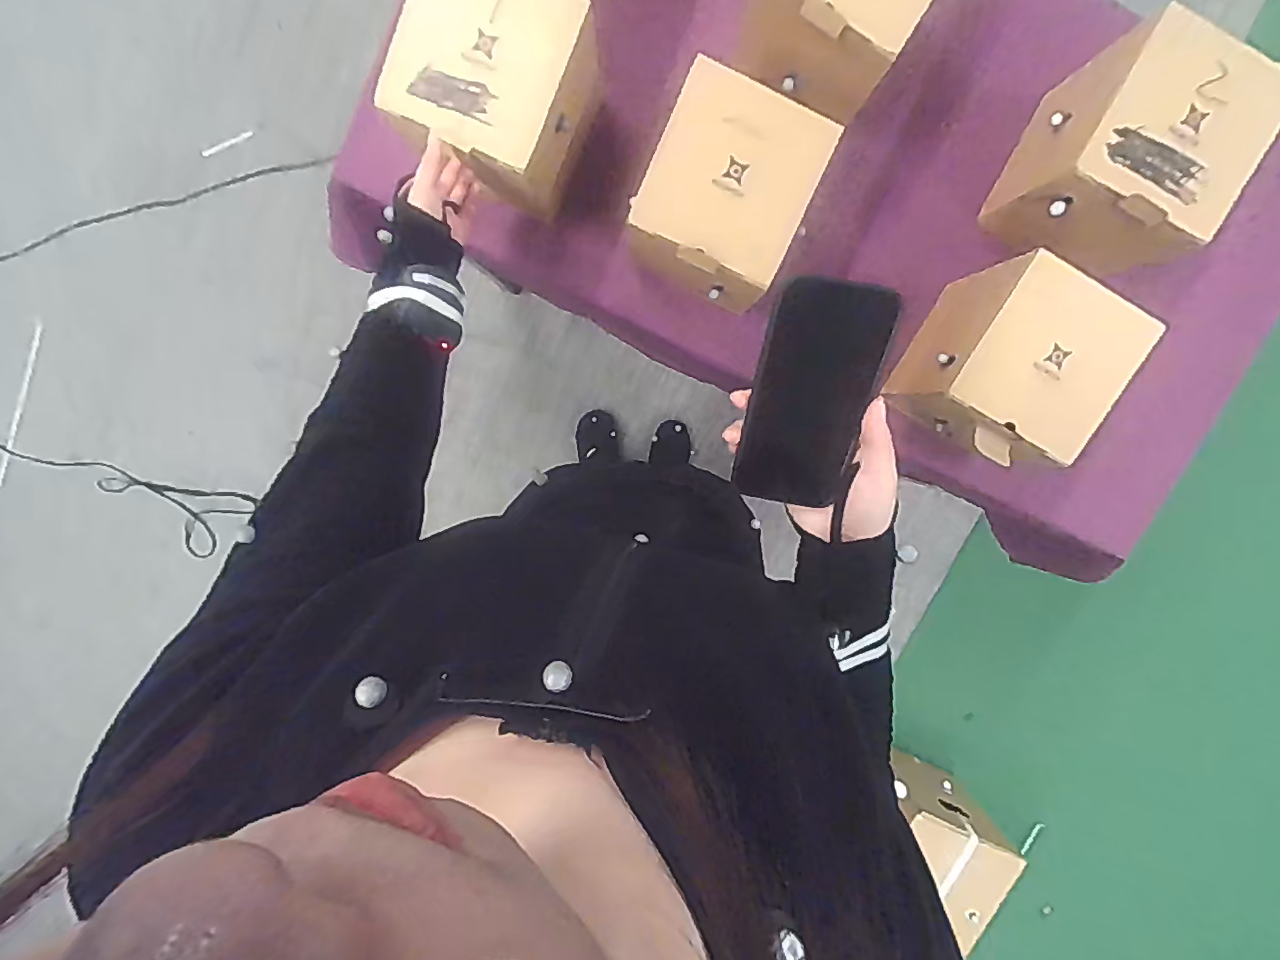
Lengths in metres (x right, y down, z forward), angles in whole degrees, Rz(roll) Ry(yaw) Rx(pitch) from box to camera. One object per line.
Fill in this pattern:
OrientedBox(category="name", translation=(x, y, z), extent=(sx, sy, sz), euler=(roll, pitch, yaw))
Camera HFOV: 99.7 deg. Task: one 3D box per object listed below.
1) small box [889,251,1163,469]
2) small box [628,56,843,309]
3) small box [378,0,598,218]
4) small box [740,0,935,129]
OrientedBox(category="small box", translation=(0.440, -0.137, 0.652), extent=(0.168, 0.176, 0.179), euler=(30, 98, -4))
OrientedBox(category="small box", translation=(0.097, -0.319, 0.627), extent=(0.168, 0.176, 0.179), euler=(25, 97, -4))
OrientedBox(category="small box", translation=(-0.154, -0.431, 0.609), extent=(0.168, 0.176, 0.179), euler=(24, 97, -4))
OrientedBox(category="small box", translation=(0.228, -0.537, 0.591), extent=(0.168, 0.176, 0.179), euler=(32, 98, -4))
